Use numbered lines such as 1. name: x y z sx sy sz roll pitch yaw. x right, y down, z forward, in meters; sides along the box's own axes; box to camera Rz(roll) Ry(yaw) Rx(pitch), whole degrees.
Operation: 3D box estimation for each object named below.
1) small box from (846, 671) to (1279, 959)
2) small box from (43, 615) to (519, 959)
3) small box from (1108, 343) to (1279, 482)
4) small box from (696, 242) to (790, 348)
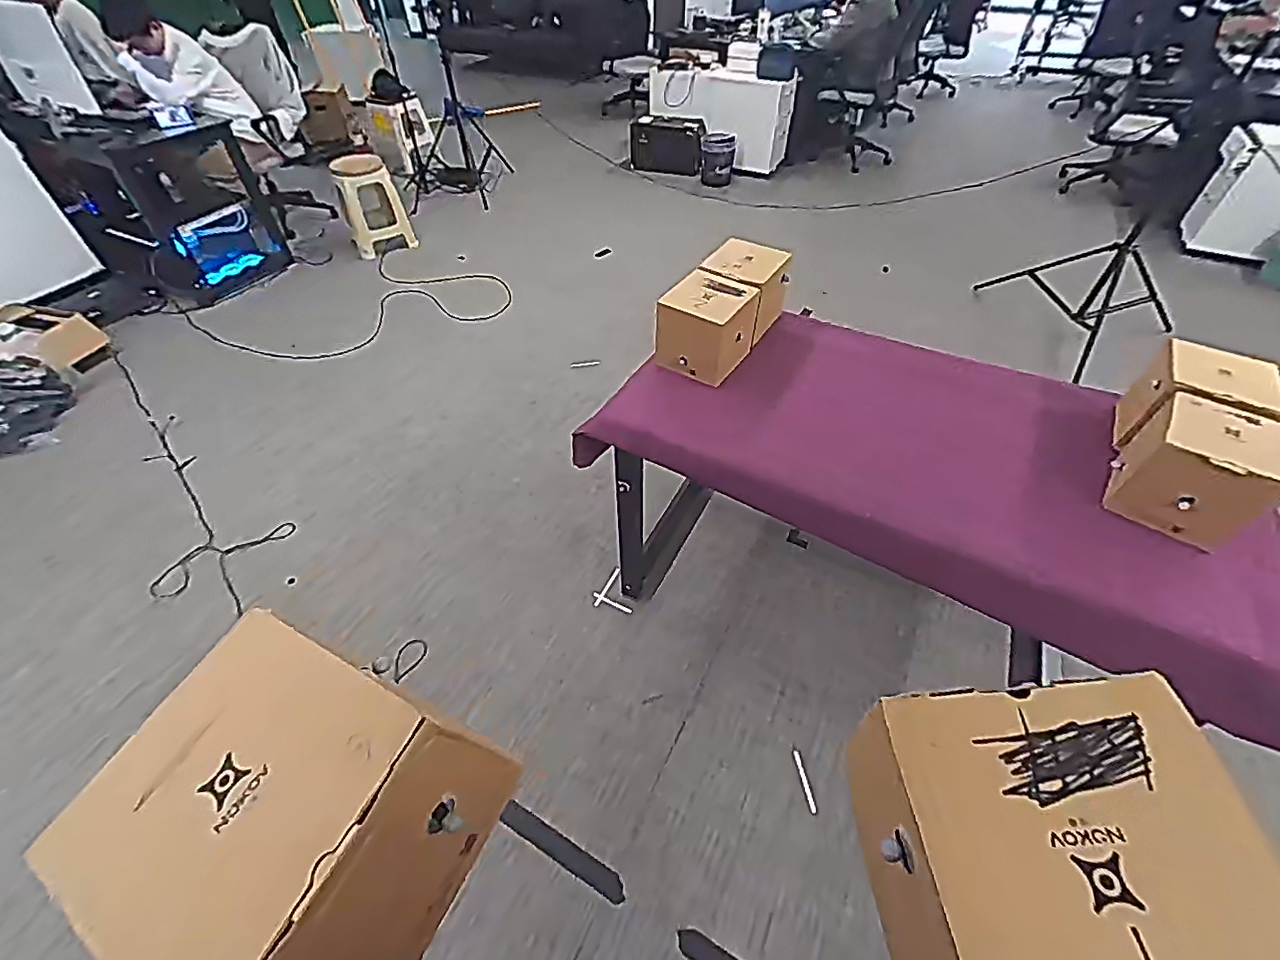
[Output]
1. small box: 0.244 0.240 0.341 0.168 0.176 0.179 -8 52 4
2. small box: -0.214 0.225 0.372 0.179 0.176 0.168 16 58 24
3. small box: 1.053 -0.131 1.046 0.168 0.176 0.179 26 52 21
4. small box: 0.250 -0.461 1.347 0.168 0.176 0.179 26 53 22
